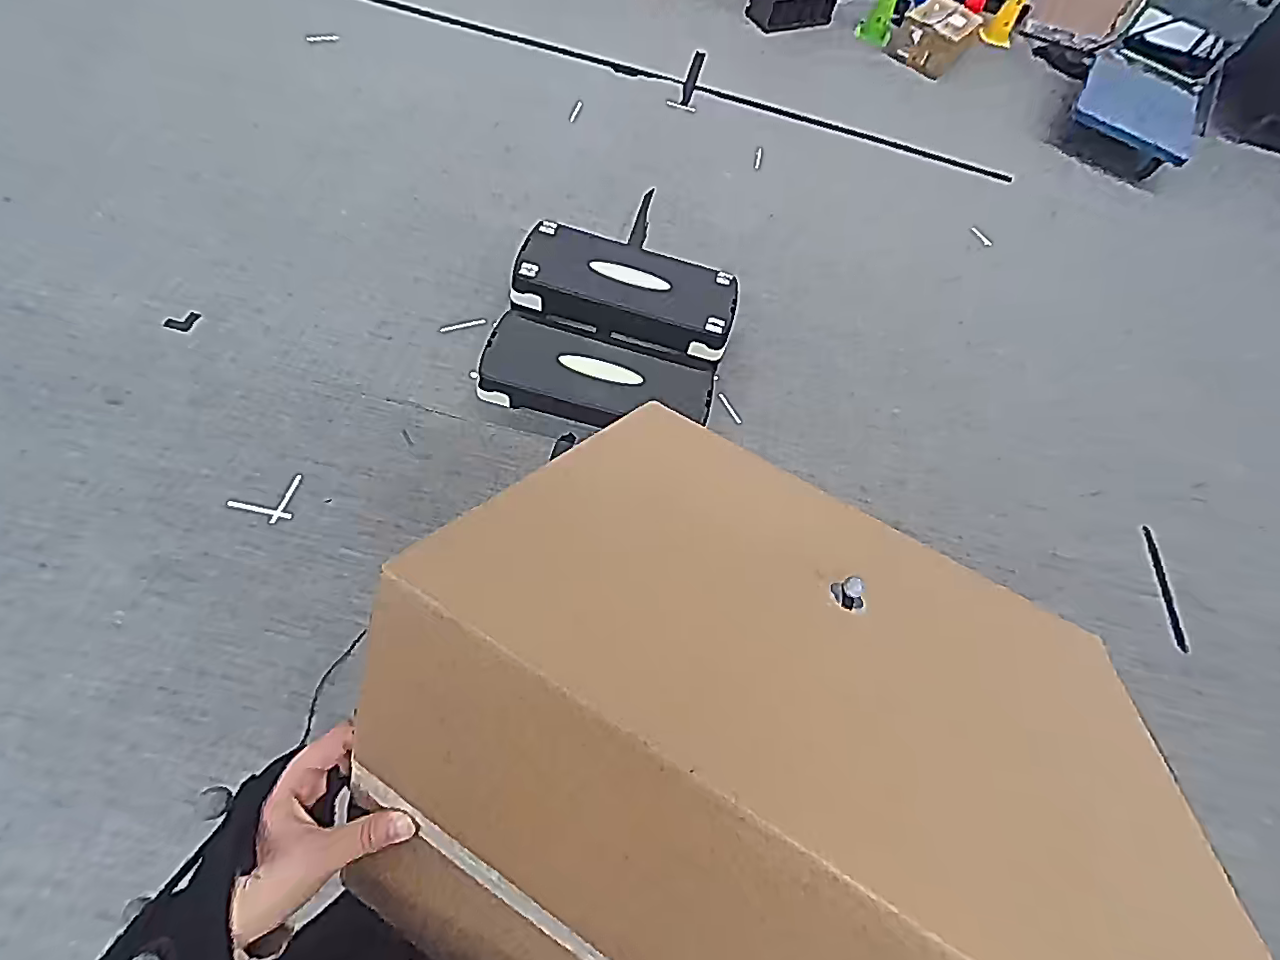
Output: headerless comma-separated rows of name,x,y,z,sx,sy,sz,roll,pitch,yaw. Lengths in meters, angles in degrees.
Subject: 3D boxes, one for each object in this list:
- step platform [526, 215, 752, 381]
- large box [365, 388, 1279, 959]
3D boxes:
step platform,-0.001,-0.568,1.683,0.684,0.204,0.286,21,61,0
large box,0.084,0.175,0.390,0.408,0.320,0.320,29,31,11
